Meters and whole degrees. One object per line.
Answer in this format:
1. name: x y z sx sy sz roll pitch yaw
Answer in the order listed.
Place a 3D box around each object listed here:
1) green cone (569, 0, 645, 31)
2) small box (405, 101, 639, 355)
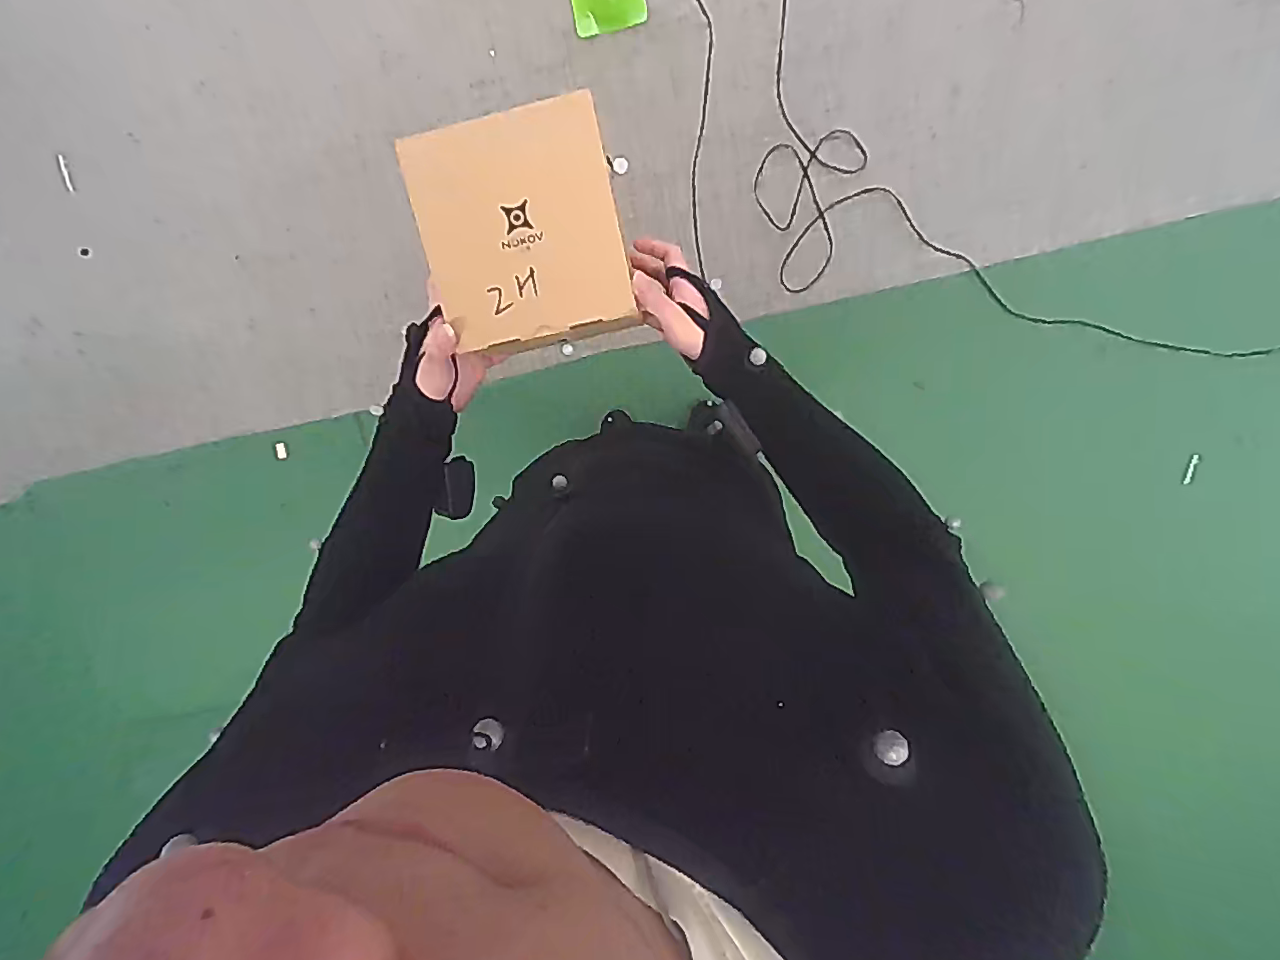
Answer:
1. green cone: -0.104 -1.313 1.293 0.202 0.368 0.200 -10 97 4
2. small box: -0.098 -0.226 0.535 0.168 0.176 0.179 -11 103 5
